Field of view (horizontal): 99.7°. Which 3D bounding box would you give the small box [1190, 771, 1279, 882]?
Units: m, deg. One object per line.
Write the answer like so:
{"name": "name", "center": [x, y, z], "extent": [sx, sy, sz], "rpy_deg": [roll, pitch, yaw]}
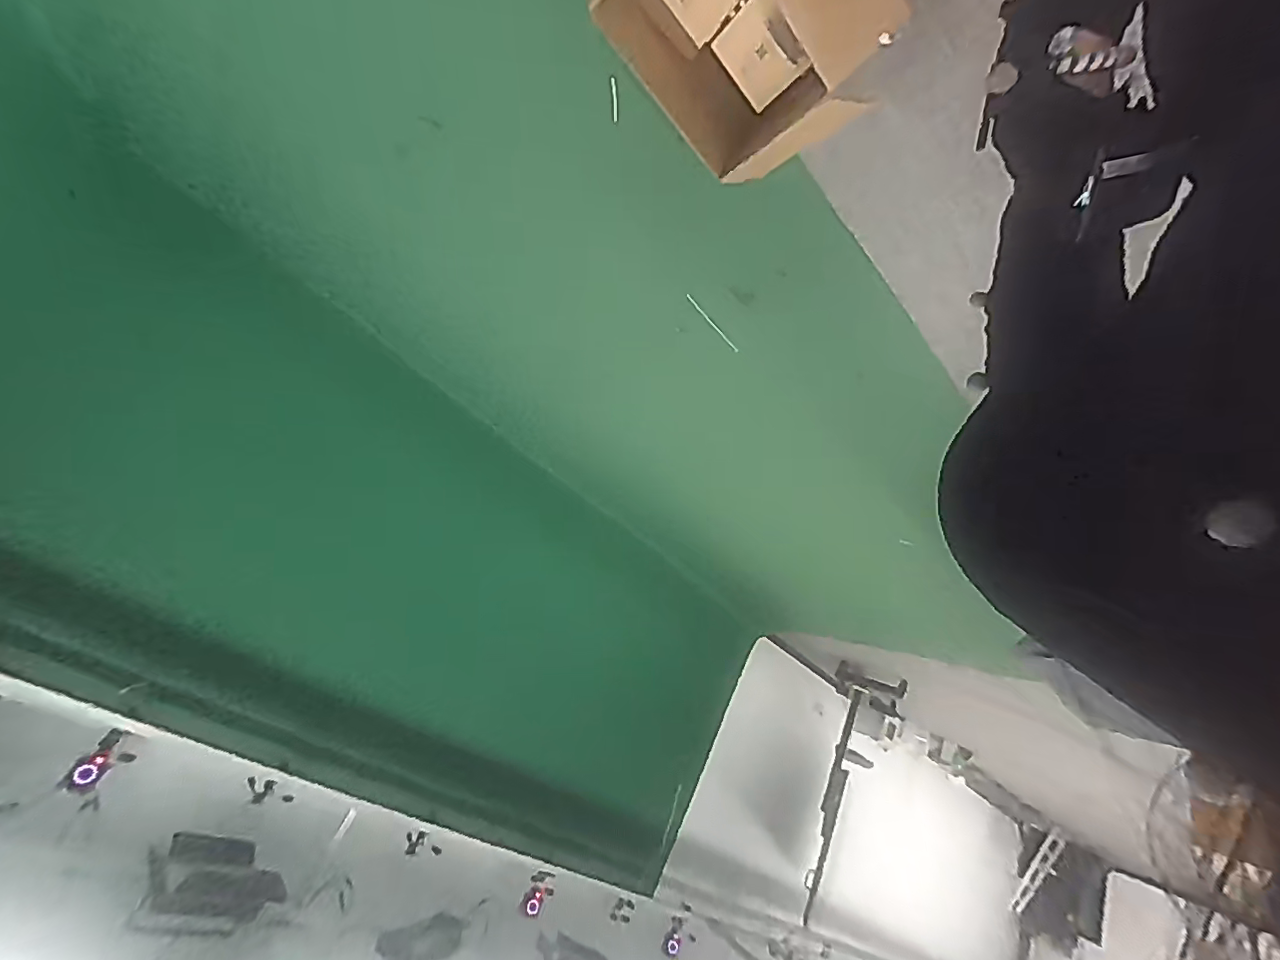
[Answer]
{"name": "small box", "center": [1.410, 0.800, 1.242], "extent": [0.168, 0.176, 0.179], "rpy_deg": [37, 156, -23]}
